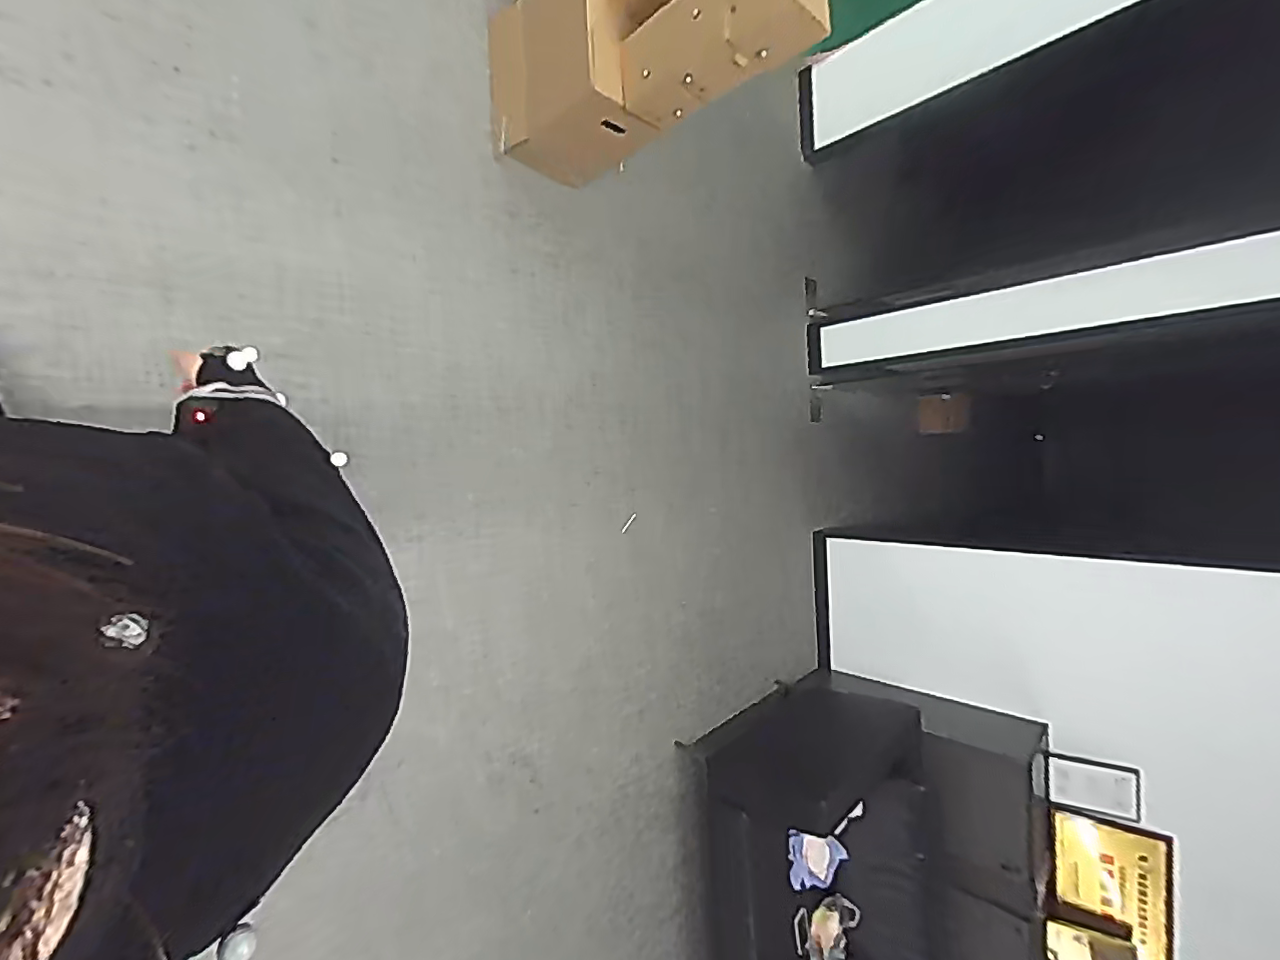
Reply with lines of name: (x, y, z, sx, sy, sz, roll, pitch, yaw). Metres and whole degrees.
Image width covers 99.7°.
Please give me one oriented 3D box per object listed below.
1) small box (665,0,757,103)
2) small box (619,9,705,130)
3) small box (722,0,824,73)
small box: (0.176, -1.091, 1.347, 0.168, 0.176, 0.179, -6, 93, -46)
small box: (0.058, -1.093, 1.460, 0.168, 0.176, 0.179, -8, 94, -46)
small box: (0.305, -1.086, 1.243, 0.179, 0.176, 0.168, -9, 96, -47)
